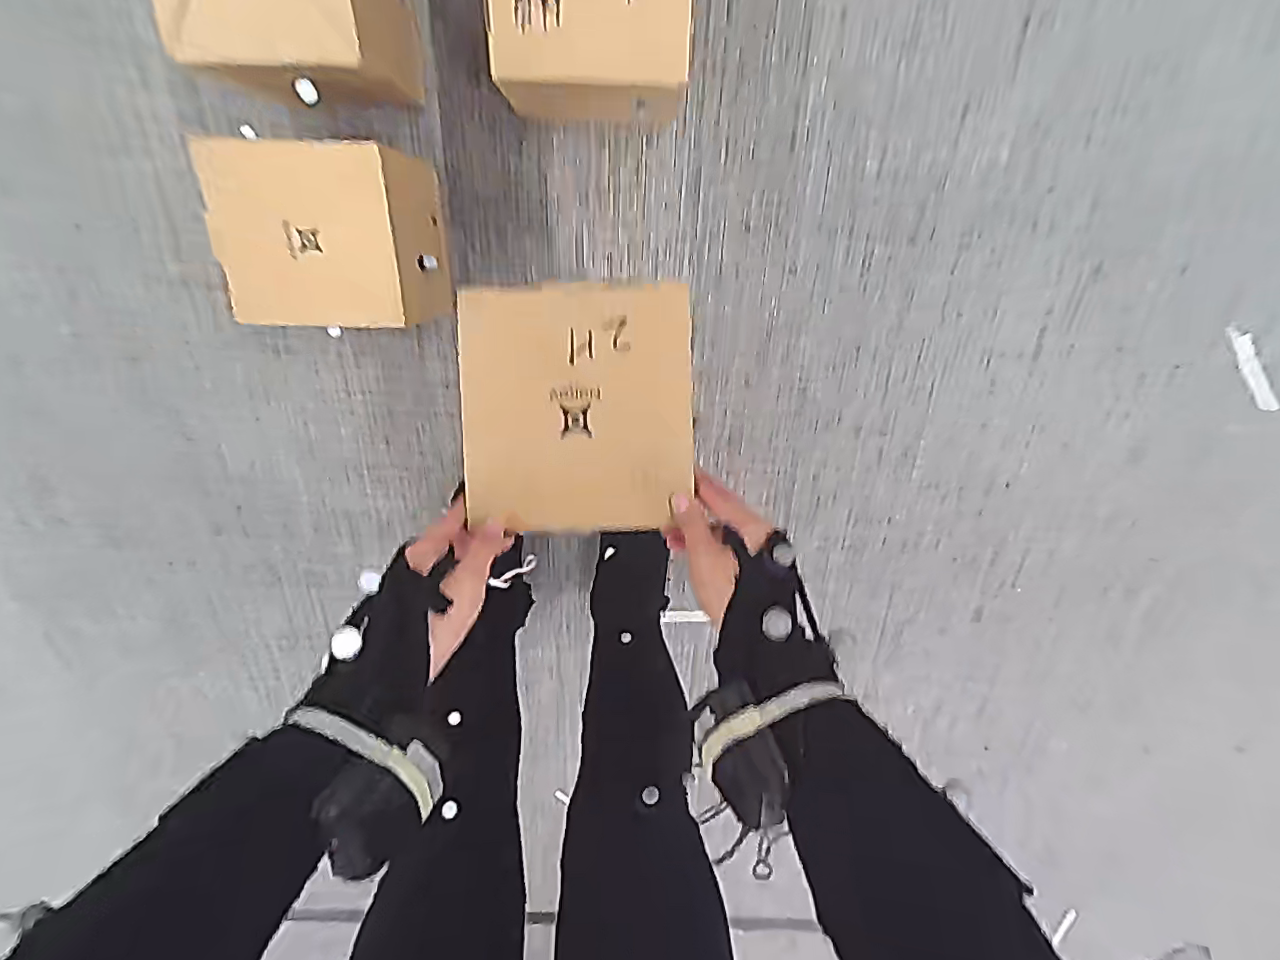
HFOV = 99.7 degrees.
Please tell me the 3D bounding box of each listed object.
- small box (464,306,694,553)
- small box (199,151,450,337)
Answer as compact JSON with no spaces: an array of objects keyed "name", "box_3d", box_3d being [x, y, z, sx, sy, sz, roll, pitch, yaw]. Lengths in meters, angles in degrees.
[{"name":"small box","box_3d":[-0.042,-0.039,0.465,0.168,0.176,0.179,-1,92,0]},{"name":"small box","box_3d":[-0.323,-0.259,0.603,0.179,0.176,0.168,1,113,-1]}]
